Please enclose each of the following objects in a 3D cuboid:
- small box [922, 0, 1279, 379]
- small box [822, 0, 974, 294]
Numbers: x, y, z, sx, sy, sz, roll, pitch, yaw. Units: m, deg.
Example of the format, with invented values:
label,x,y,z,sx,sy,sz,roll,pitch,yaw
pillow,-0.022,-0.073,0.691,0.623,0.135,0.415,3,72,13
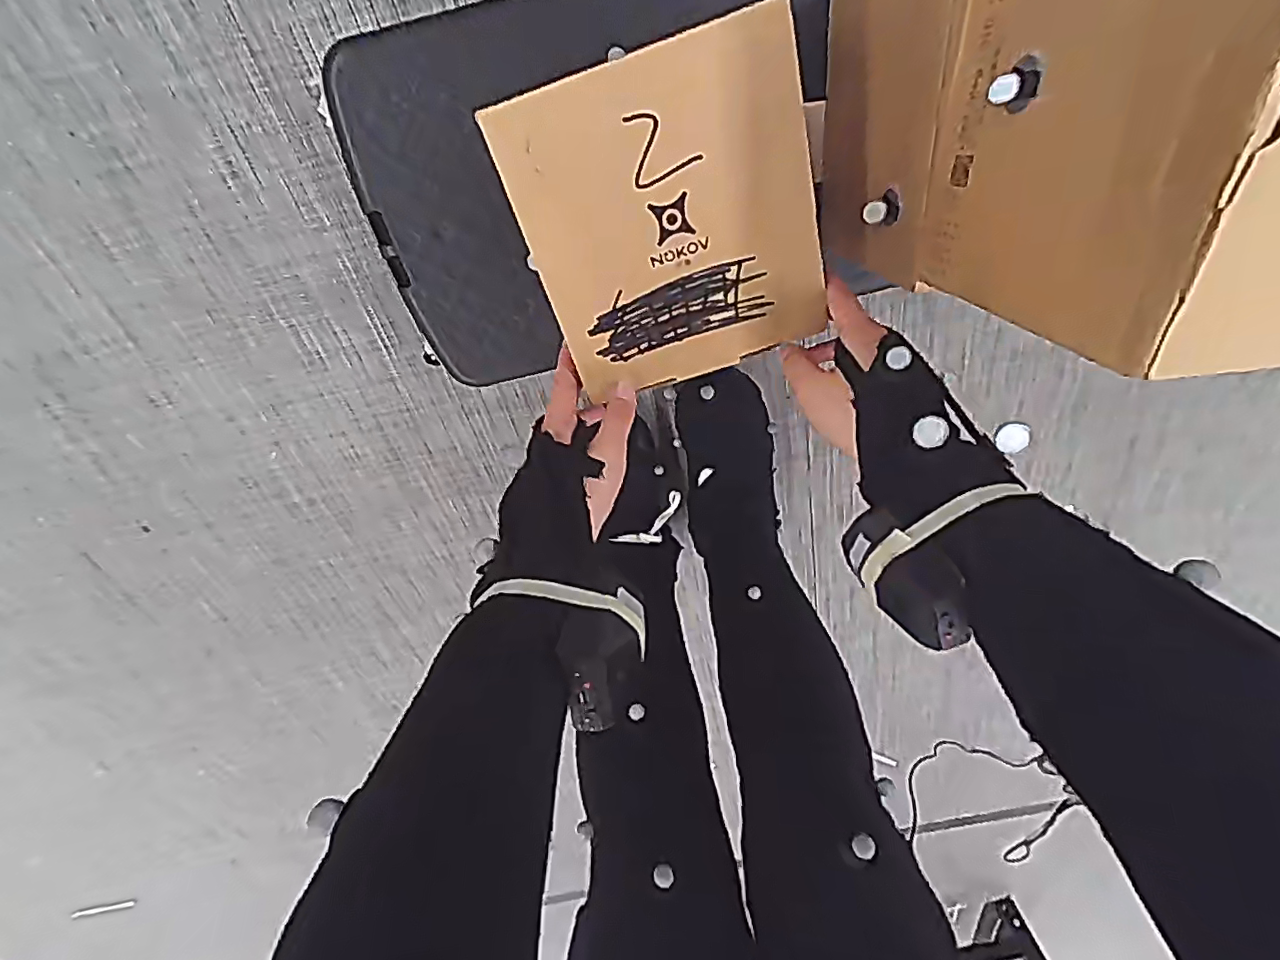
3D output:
label,x,y,z,sx,sy,sz,roll,pitch,yaw
small box,0.258,-0.159,0.226,0.179,0.176,0.168,-6,124,-1
small box,0.233,-0.245,0.363,0.168,0.176,0.179,-9,123,0
